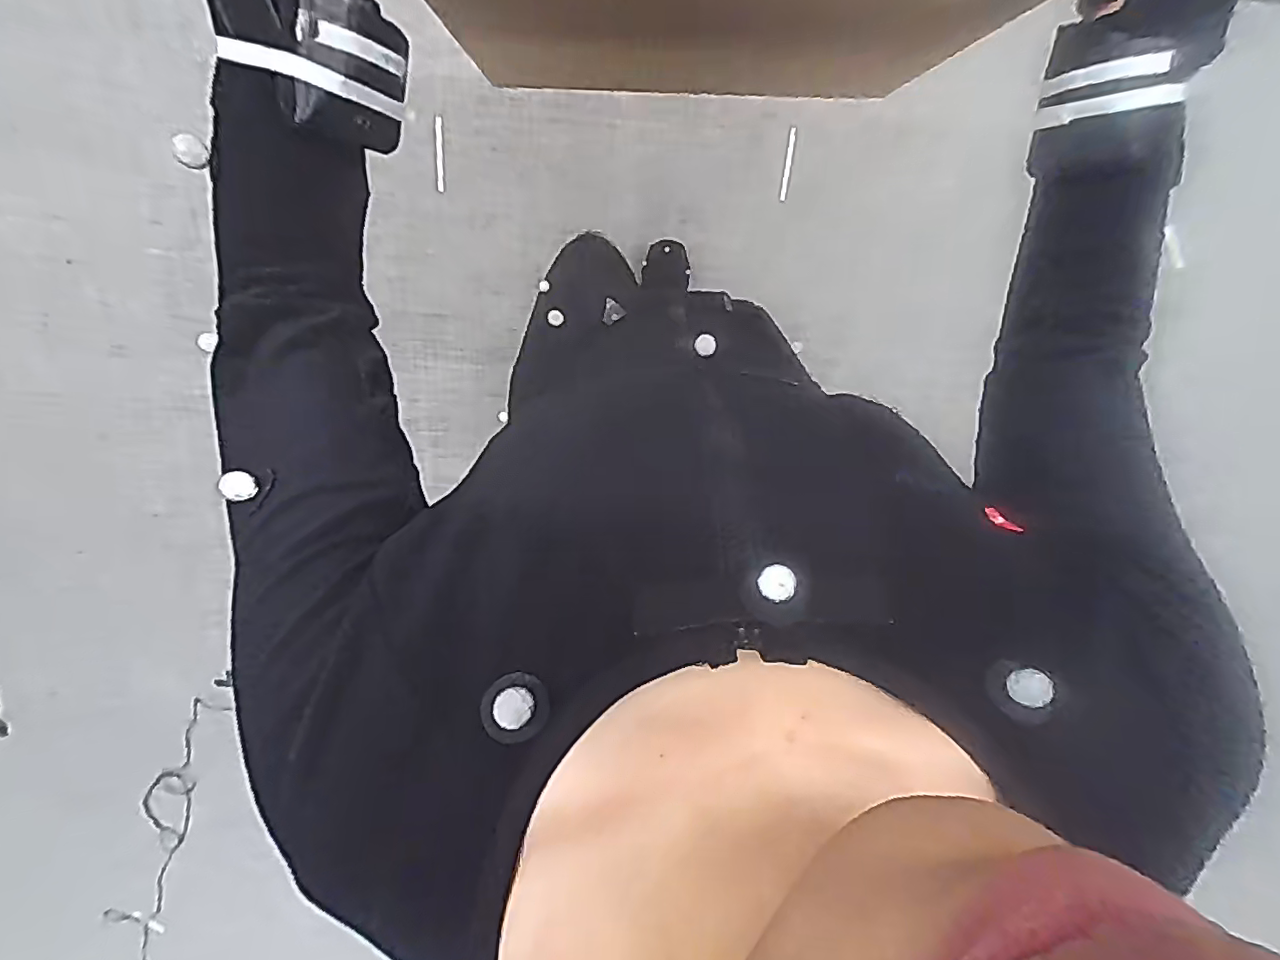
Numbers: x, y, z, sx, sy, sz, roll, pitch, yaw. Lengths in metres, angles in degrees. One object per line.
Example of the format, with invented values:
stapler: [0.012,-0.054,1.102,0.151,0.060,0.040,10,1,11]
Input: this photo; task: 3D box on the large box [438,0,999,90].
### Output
large box: [0.053,-0.485,0.358,0.408,0.320,0.320,-1,114,-2]
